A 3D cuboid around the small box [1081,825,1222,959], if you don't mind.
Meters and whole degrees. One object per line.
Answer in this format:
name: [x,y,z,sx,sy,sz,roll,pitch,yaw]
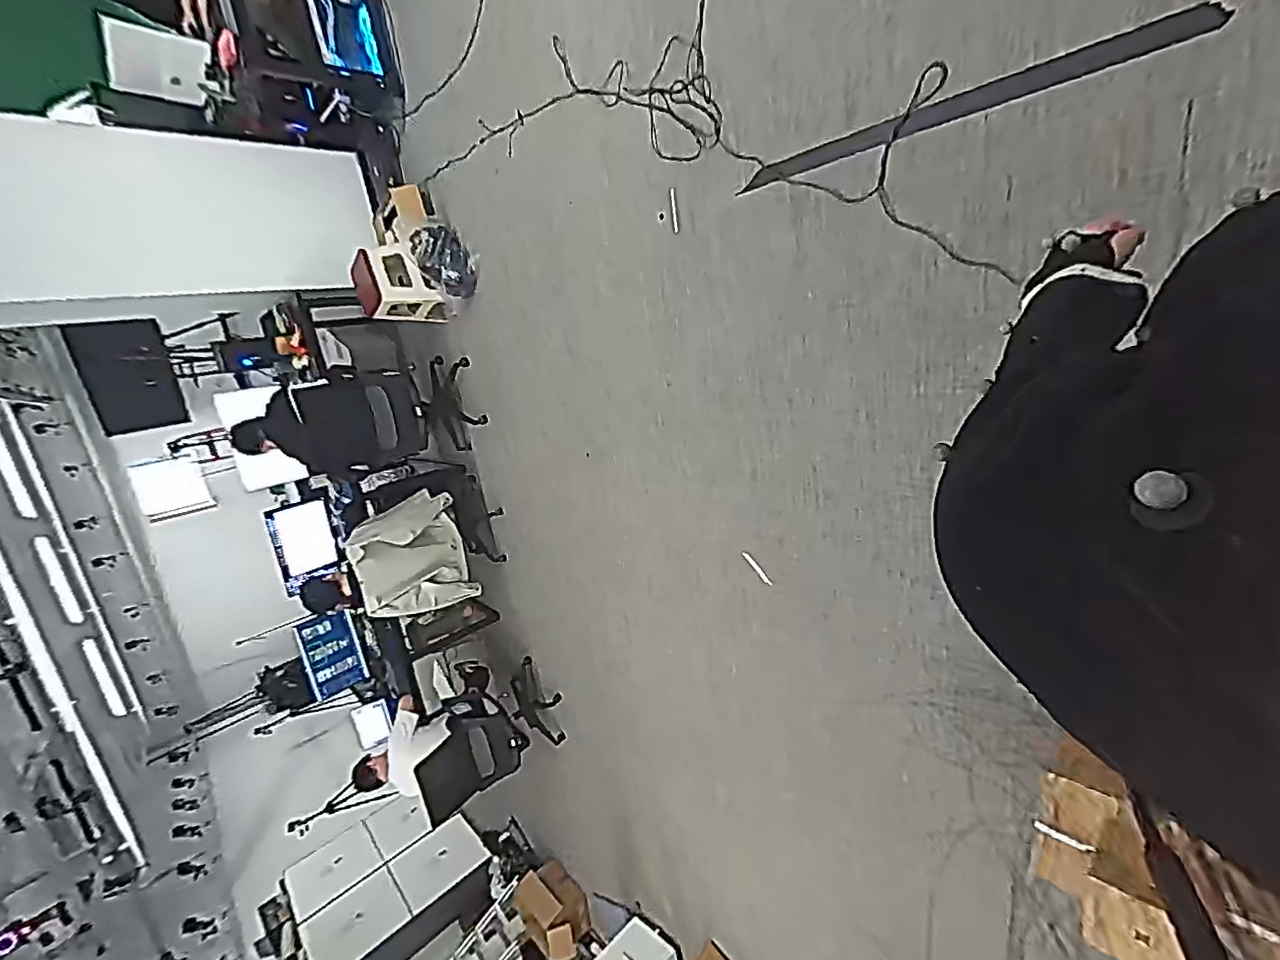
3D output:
small box: [0.975,0.812,1.032,0.179,0.176,0.168,7,109,49]
